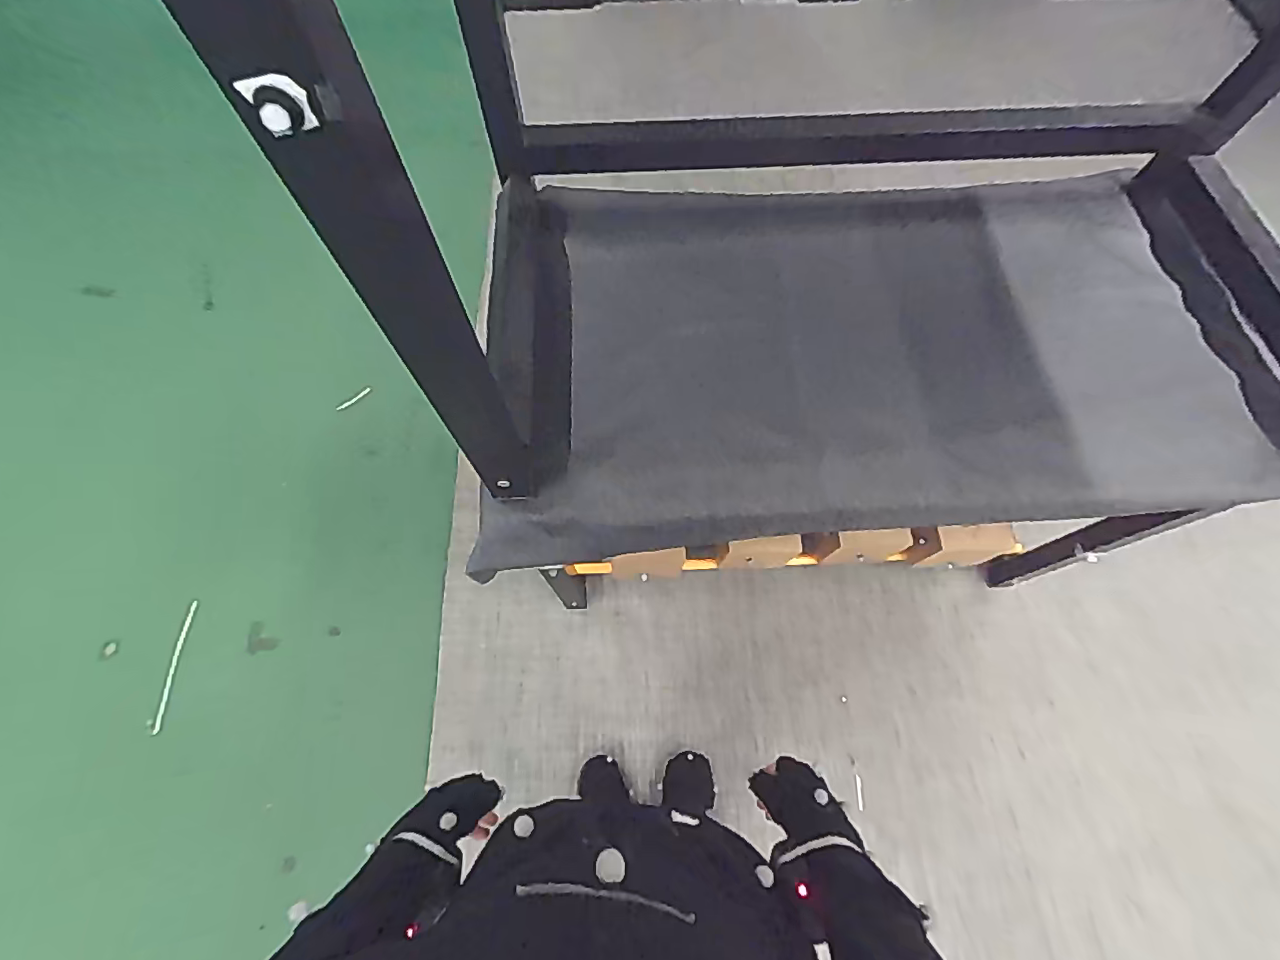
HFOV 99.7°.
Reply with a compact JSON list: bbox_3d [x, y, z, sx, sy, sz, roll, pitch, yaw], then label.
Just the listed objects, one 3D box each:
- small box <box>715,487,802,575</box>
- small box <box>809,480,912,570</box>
[{"bbox_3d":[0.276,0.128,1.296,0.168,0.176,0.179,-1,66,-1],"label":"small box"},{"bbox_3d":[0.521,0.115,1.301,0.168,0.176,0.179,-3,66,-1],"label":"small box"}]
